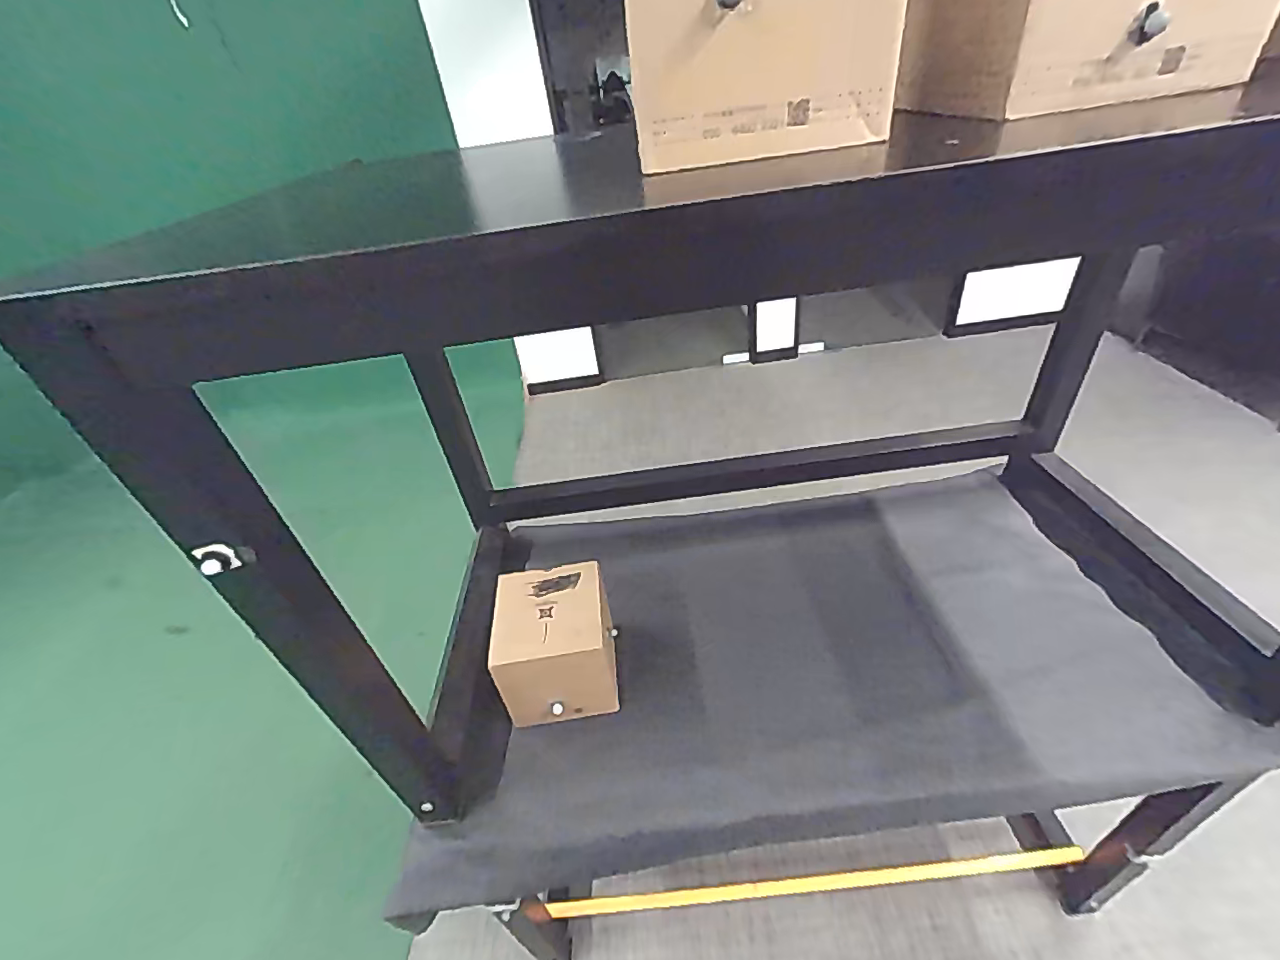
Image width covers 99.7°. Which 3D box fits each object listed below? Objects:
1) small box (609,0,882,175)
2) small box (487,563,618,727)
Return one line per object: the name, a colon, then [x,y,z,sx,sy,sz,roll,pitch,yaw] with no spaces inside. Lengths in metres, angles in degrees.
small box: [0.065,-0.328,0.386,0.168,0.176,0.179,-6,36,4]
small box: [-0.131,0.262,0.865,0.168,0.176,0.179,-9,37,0]
